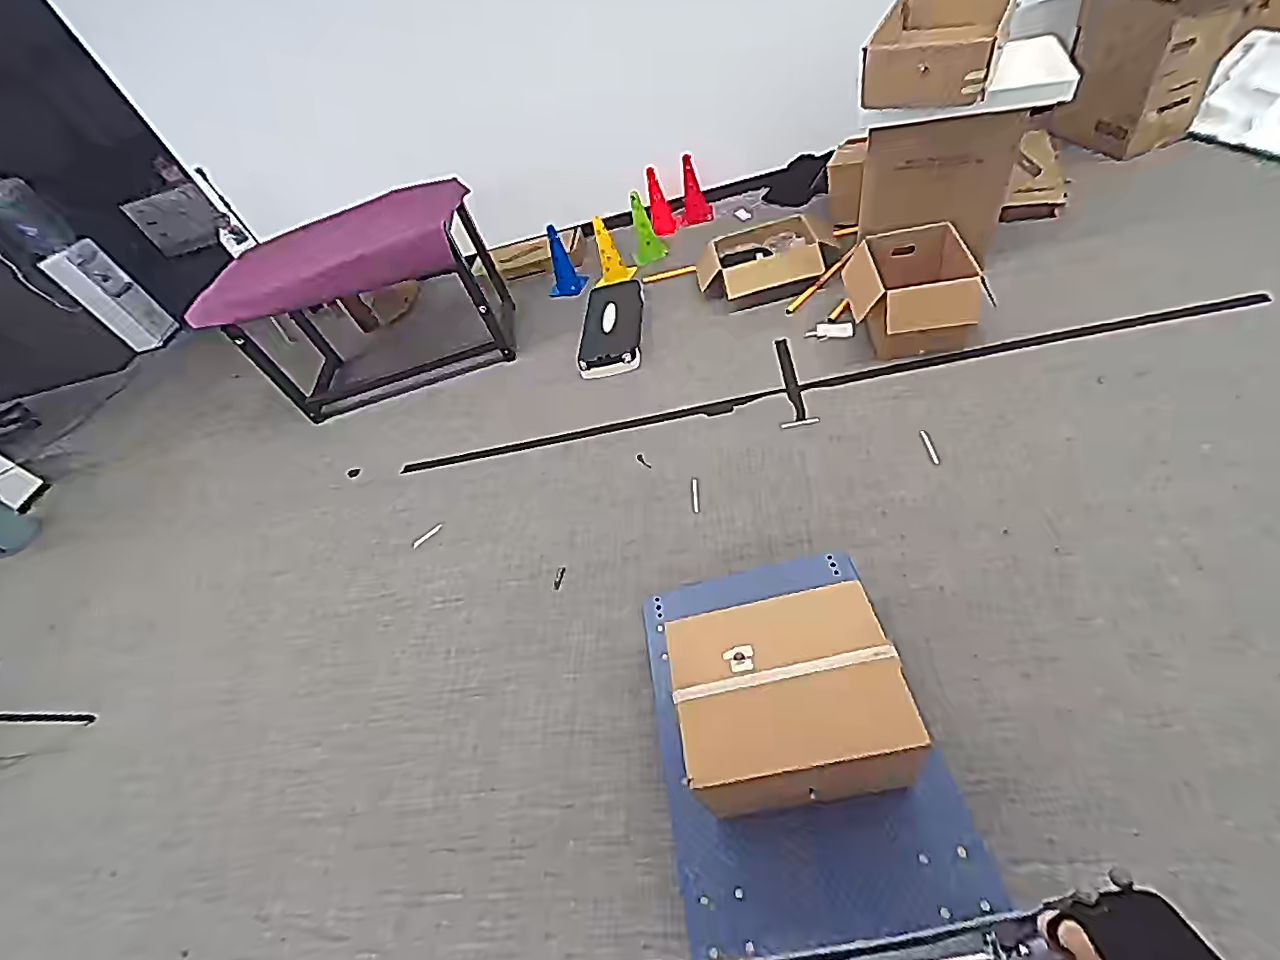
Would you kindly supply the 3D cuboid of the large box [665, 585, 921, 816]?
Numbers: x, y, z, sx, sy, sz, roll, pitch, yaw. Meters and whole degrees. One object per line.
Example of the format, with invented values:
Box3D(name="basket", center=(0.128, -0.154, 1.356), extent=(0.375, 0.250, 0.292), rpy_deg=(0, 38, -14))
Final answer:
Box3D(name="large box", center=(0.300, 0.467, 1.123), extent=(0.408, 0.320, 0.320), rpy_deg=(-16, 47, 7))
